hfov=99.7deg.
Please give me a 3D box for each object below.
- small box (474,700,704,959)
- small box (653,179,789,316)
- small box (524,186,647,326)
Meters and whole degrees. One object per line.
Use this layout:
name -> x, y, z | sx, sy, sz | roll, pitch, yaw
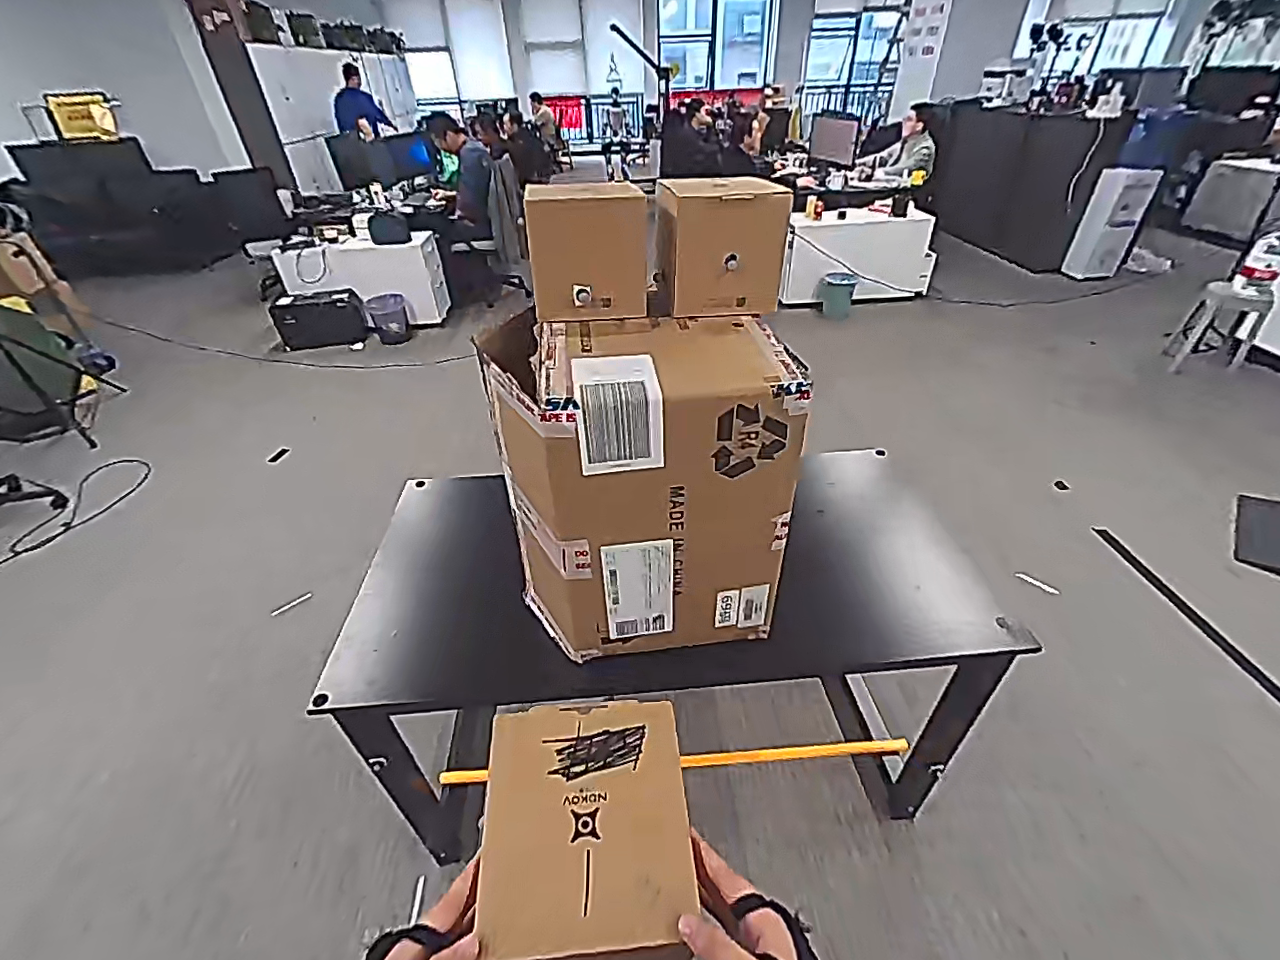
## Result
small box -> -0.044, 0.329, 0.495 | 0.168, 0.176, 0.179 | -3, 43, -5
small box -> 0.115, -0.363, 0.846 | 0.168, 0.176, 0.179 | -4, 37, -7
small box -> -0.084, -0.347, 0.833 | 0.168, 0.176, 0.179 | -7, 35, -7
